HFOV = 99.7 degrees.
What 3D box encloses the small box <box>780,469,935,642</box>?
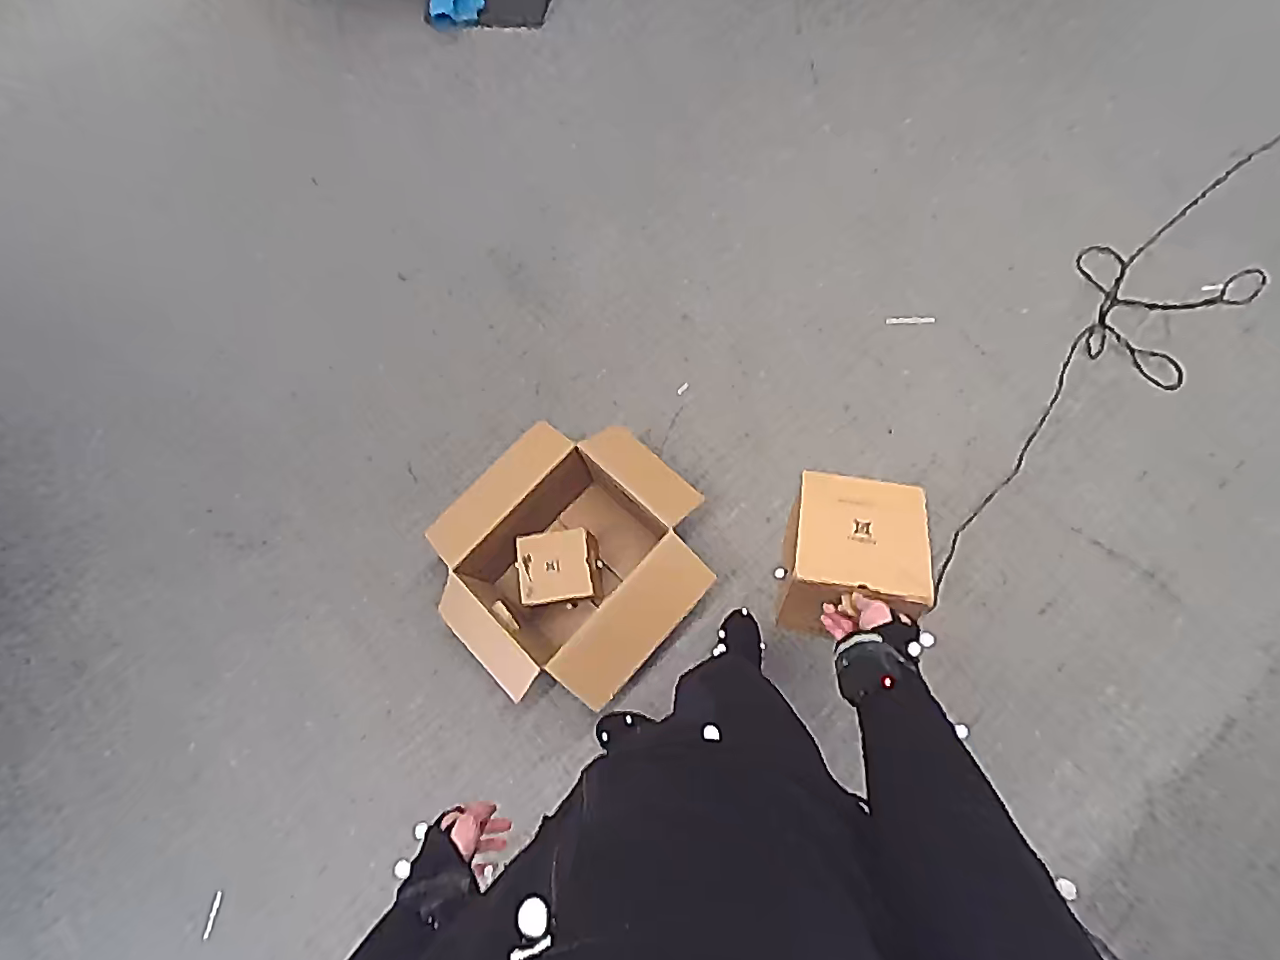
[{"bbox_3d":[0.300,0.112,0.776,0.168,0.176,0.179,9,53,10],"label":"small box"}]
